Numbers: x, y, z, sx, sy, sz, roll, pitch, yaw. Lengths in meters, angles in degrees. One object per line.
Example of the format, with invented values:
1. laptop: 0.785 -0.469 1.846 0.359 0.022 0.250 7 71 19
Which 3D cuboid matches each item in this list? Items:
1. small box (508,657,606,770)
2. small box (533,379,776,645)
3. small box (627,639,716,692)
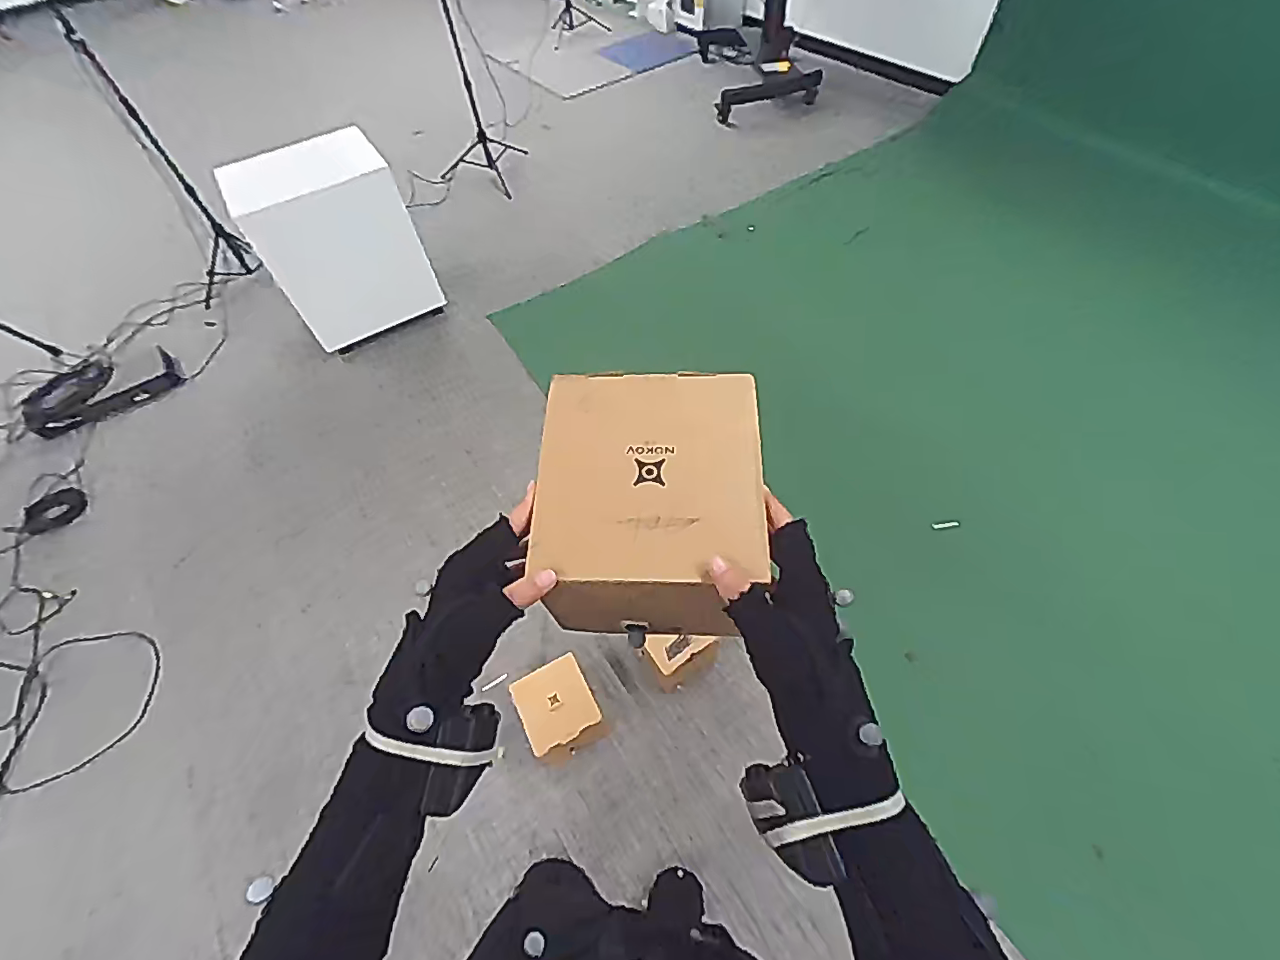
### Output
1. small box: -0.195 0.561 1.293 0.168 0.176 0.179 -26 58 -14
2. small box: 0.015 0.033 0.468 0.168 0.176 0.179 1 62 3
3. small box: 0.076 0.416 1.379 0.168 0.176 0.179 -30 58 -17
